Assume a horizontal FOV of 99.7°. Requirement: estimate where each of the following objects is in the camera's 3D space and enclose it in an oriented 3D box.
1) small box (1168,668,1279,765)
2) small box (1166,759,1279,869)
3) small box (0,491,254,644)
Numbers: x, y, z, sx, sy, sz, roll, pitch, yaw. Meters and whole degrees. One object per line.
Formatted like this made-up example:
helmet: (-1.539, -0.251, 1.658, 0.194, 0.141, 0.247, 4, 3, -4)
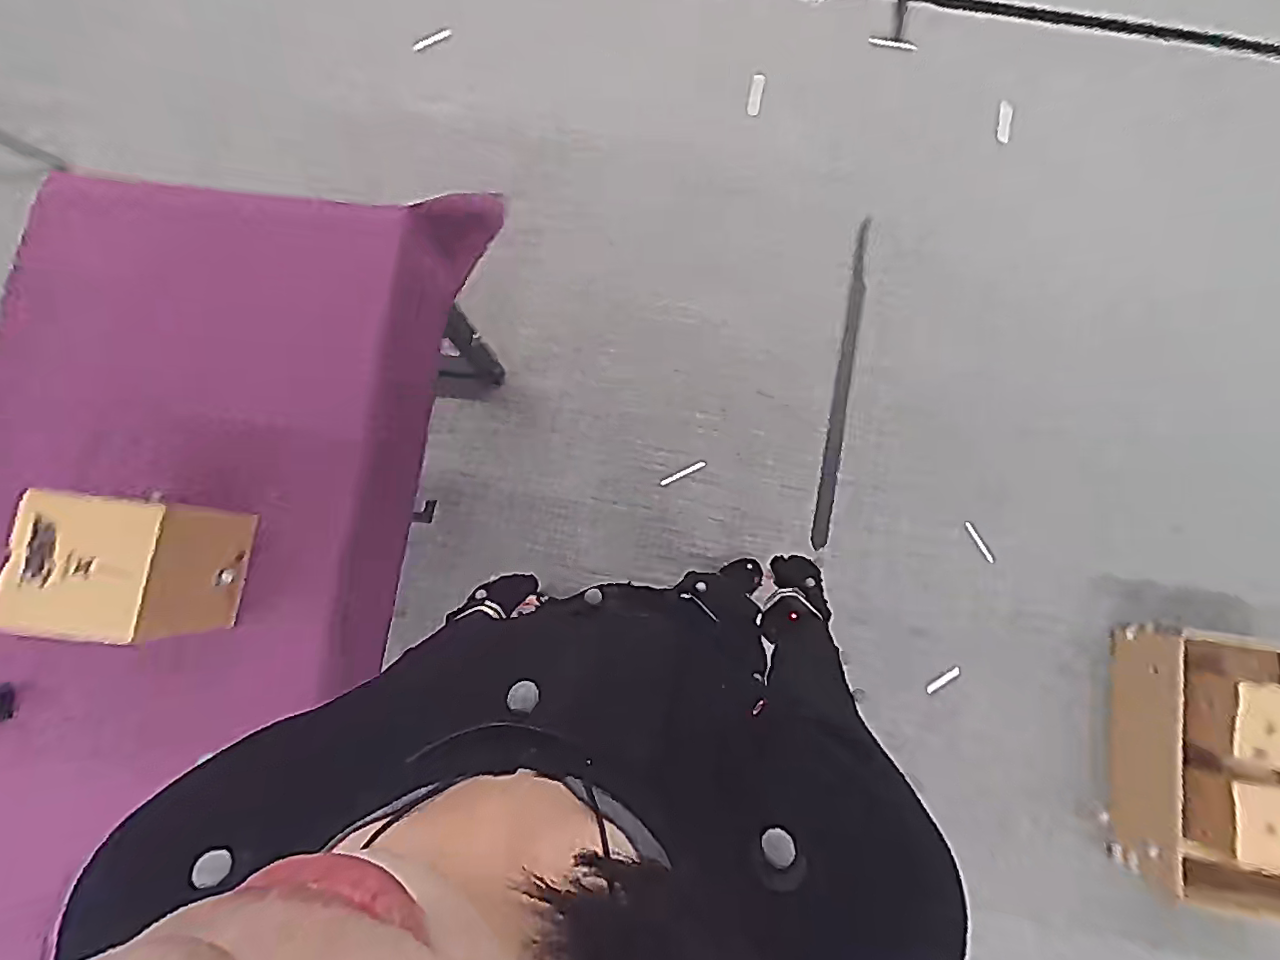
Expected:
small box: (1.460, 0.576, 1.328, 0.168, 0.176, 0.179, 13, 81, 3)
small box: (1.422, 0.795, 1.295, 0.168, 0.176, 0.179, 6, 79, 1)
small box: (-0.672, 0.116, 0.722, 0.179, 0.176, 0.168, 6, 81, 1)
